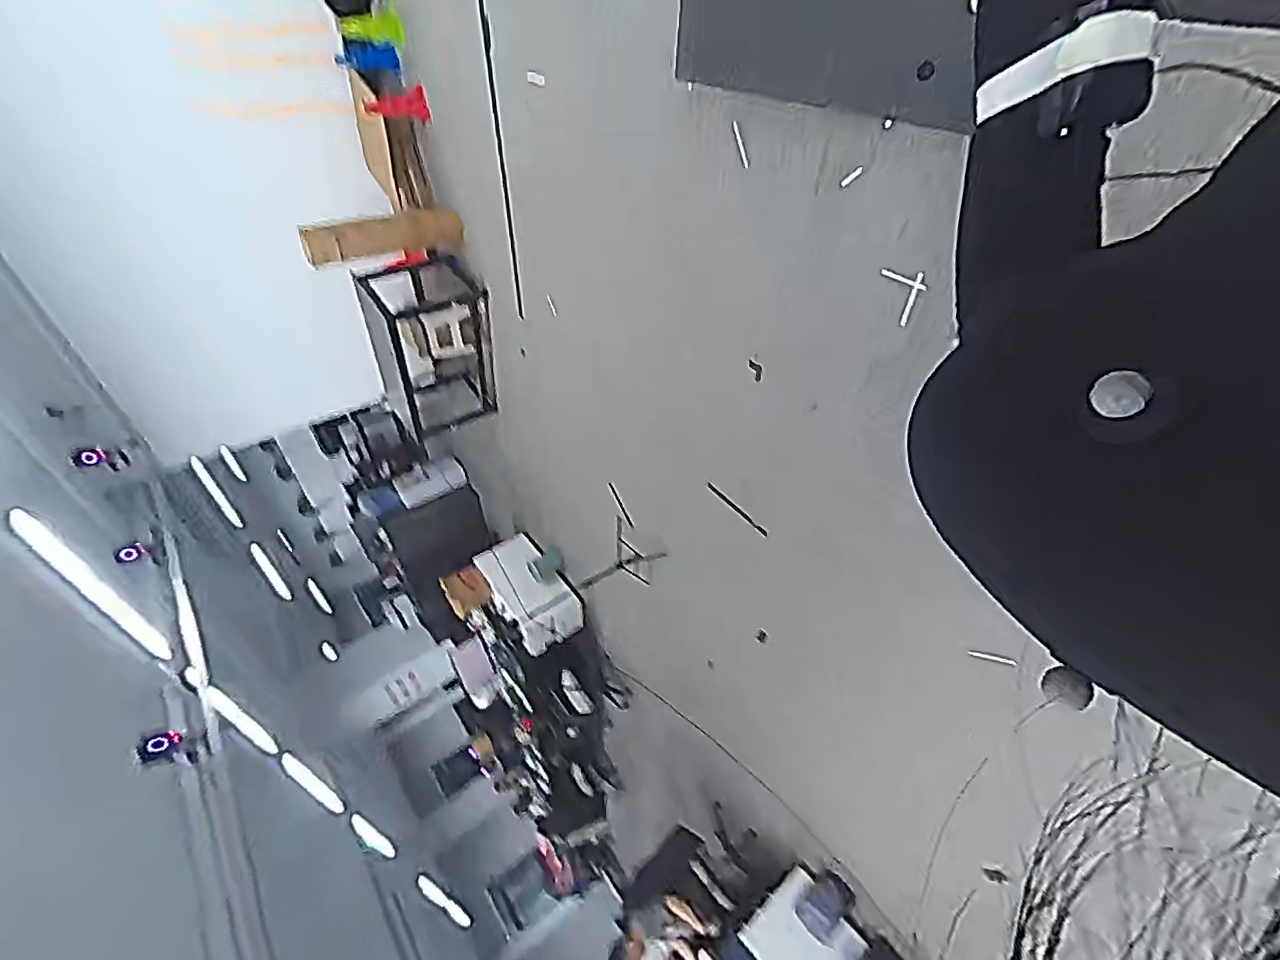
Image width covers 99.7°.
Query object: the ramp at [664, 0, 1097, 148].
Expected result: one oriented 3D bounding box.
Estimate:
[{"bbox_3d":[0.469,-1.129,1.222,0.991,0.206,0.509,40,143,33],"label":"ramp"}]
